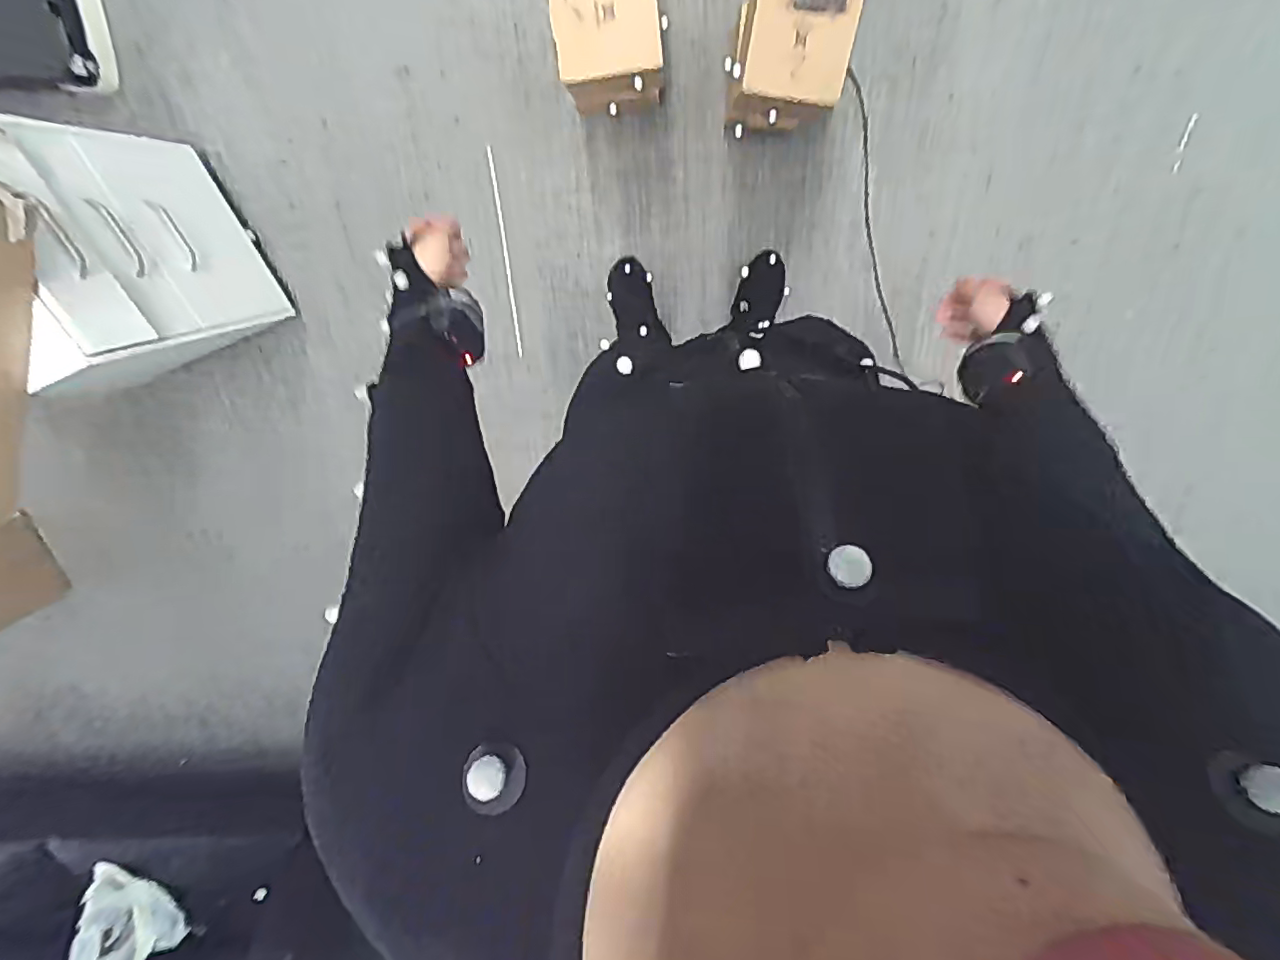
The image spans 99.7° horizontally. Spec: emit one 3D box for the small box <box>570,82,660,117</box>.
[{"bbox_3d":[-0.054,-0.850,1.089,0.179,0.176,0.168,-5,116,5],"label":"small box"}]

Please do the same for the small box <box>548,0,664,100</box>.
[{"bbox_3d":[-0.054,-0.782,0.939,0.179,0.176,0.168,-6,115,6],"label":"small box"}]

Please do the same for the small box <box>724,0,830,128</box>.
[{"bbox_3d":[0.264,-0.822,1.086,0.168,0.176,0.179,3,115,1],"label":"small box"}]
